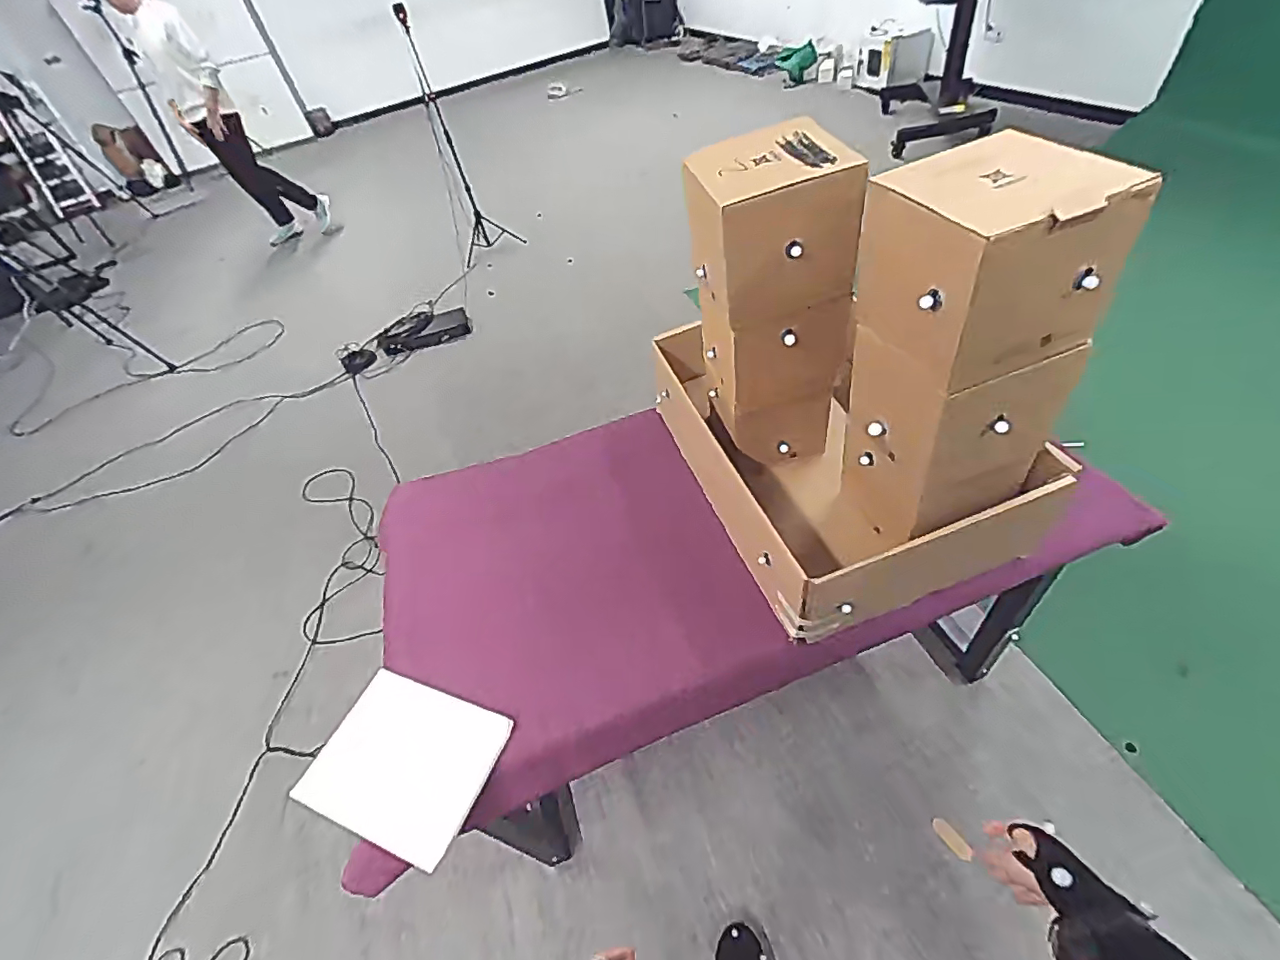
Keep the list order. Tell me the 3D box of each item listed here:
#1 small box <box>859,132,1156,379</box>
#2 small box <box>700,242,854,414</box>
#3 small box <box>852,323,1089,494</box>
[{"bbox_3d":[0.351,-0.225,0.562,0.168,0.176,0.179,-20,46,-3],"label":"small box"},{"bbox_3d":[0.203,-0.232,0.838,0.179,0.176,0.168,-17,50,0],"label":"small box"},{"bbox_3d":[0.388,-0.113,0.676,0.179,0.176,0.168,-21,46,-2],"label":"small box"}]
